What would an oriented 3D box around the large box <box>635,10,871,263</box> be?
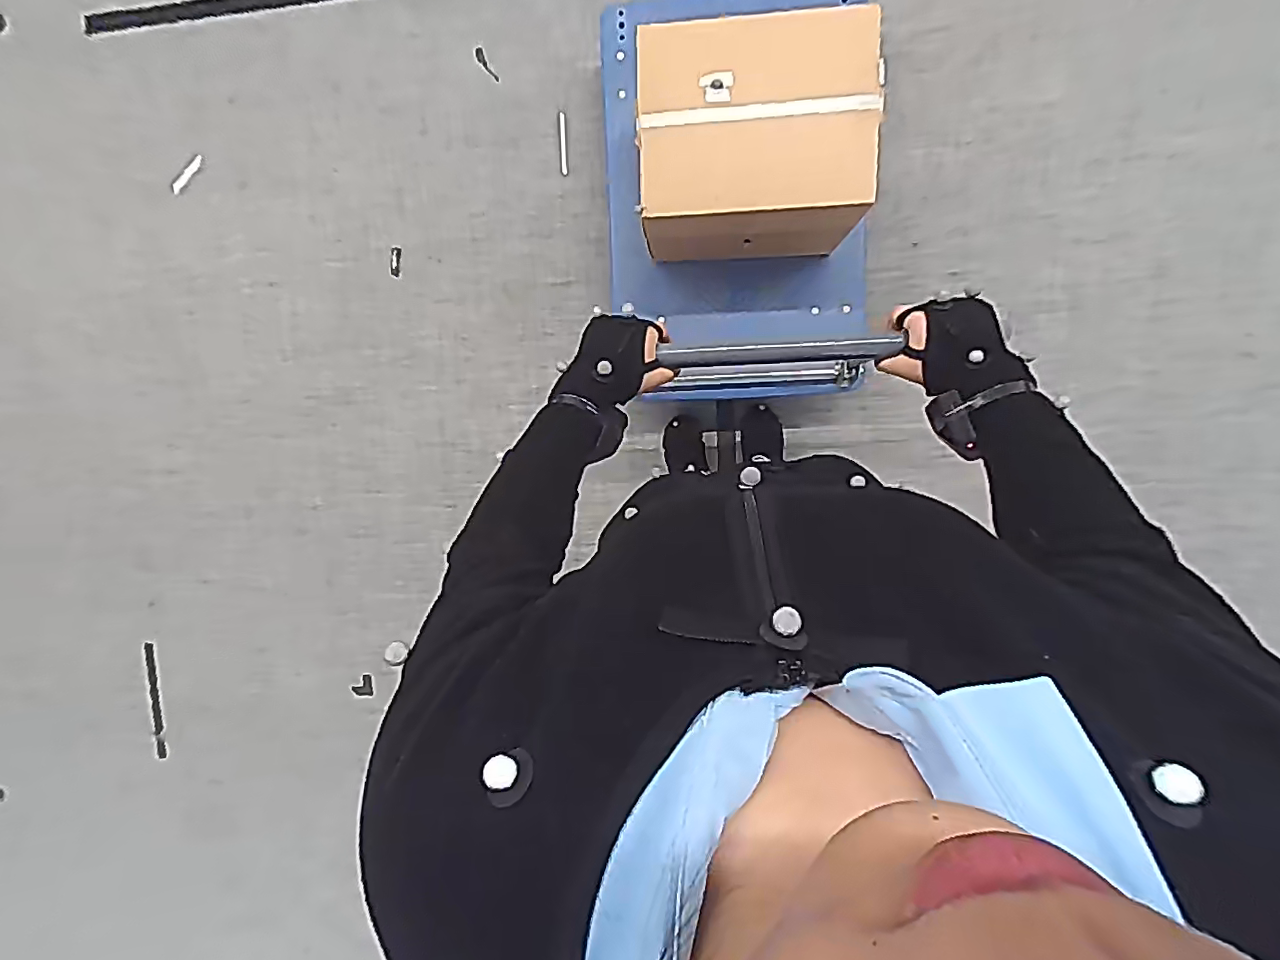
[{"bbox_3d":[0.213,-0.645,1.086,0.408,0.320,0.320,-1,96,7],"label":"large box"}]
